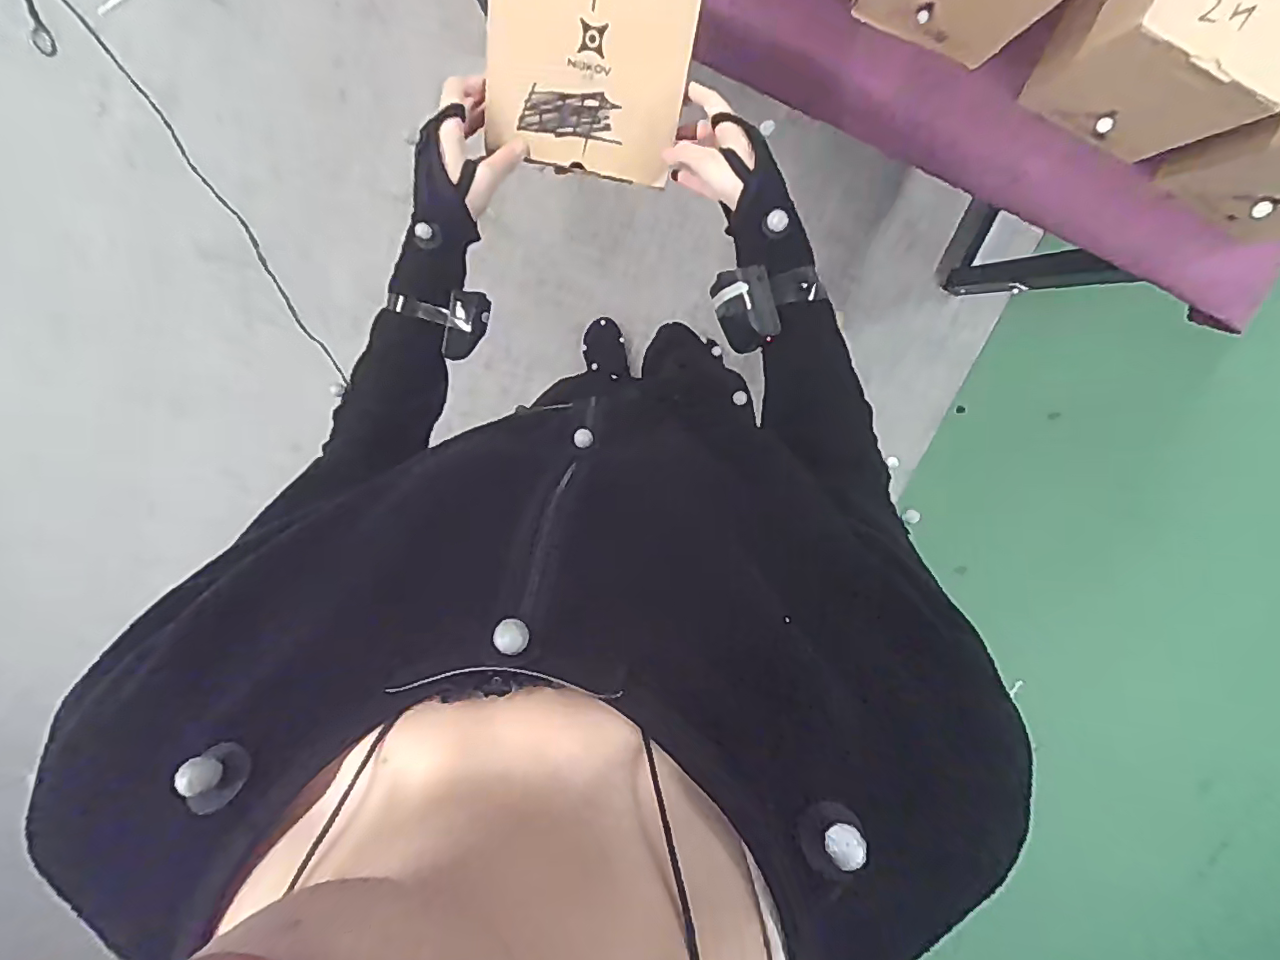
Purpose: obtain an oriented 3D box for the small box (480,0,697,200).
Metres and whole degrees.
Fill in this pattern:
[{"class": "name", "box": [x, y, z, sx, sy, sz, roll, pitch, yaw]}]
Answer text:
[{"class": "small box", "box": [-0.046, -0.383, 0.508, 0.168, 0.176, 0.179, 9, 121, -6]}]
